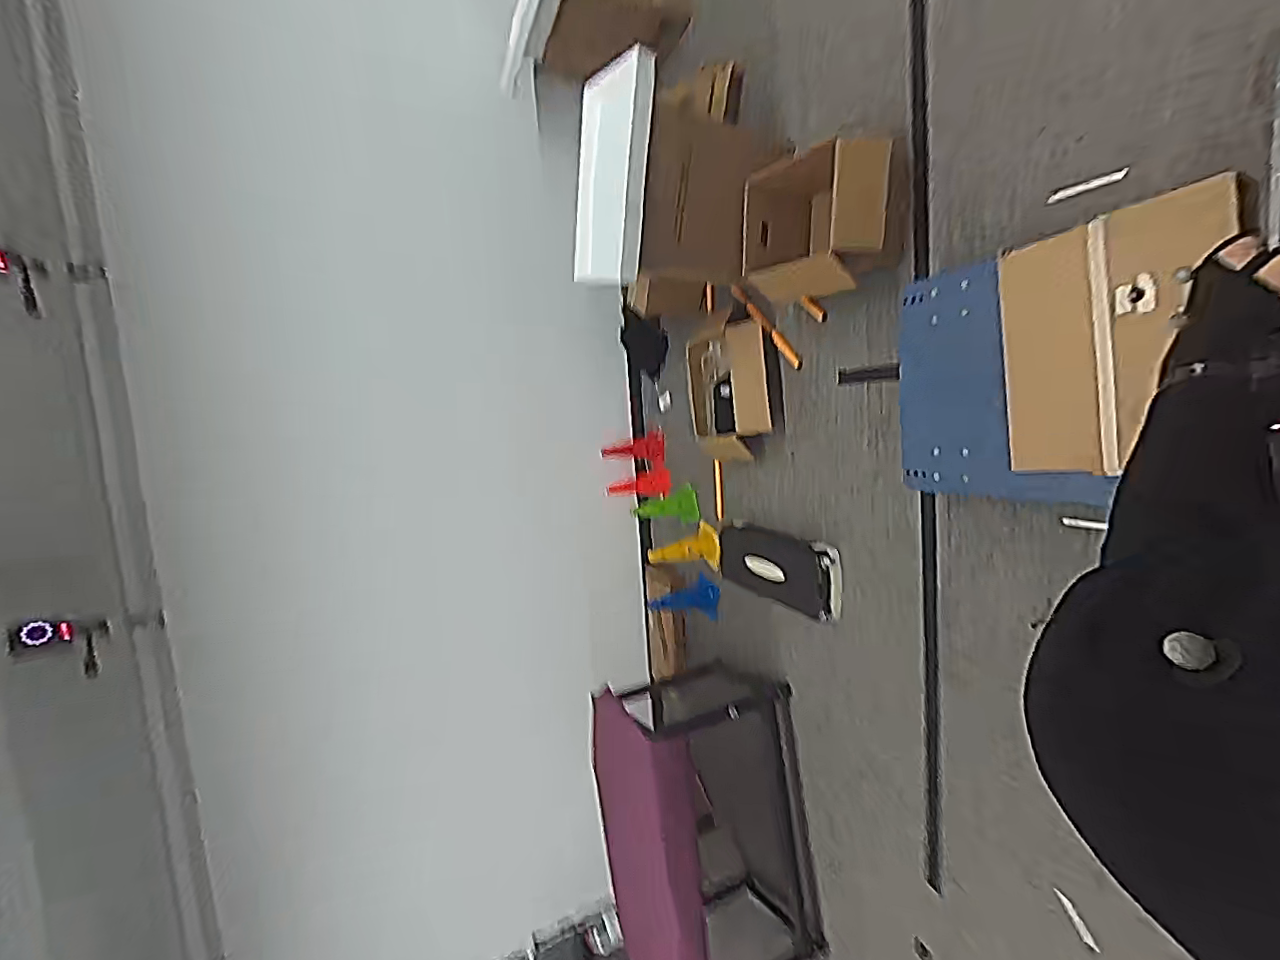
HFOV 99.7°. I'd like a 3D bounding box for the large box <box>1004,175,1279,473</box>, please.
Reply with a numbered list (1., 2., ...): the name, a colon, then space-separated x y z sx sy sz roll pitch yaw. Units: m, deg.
1. large box: 0.891 -0.226 0.930 0.320 0.320 0.408 -3 92 63
